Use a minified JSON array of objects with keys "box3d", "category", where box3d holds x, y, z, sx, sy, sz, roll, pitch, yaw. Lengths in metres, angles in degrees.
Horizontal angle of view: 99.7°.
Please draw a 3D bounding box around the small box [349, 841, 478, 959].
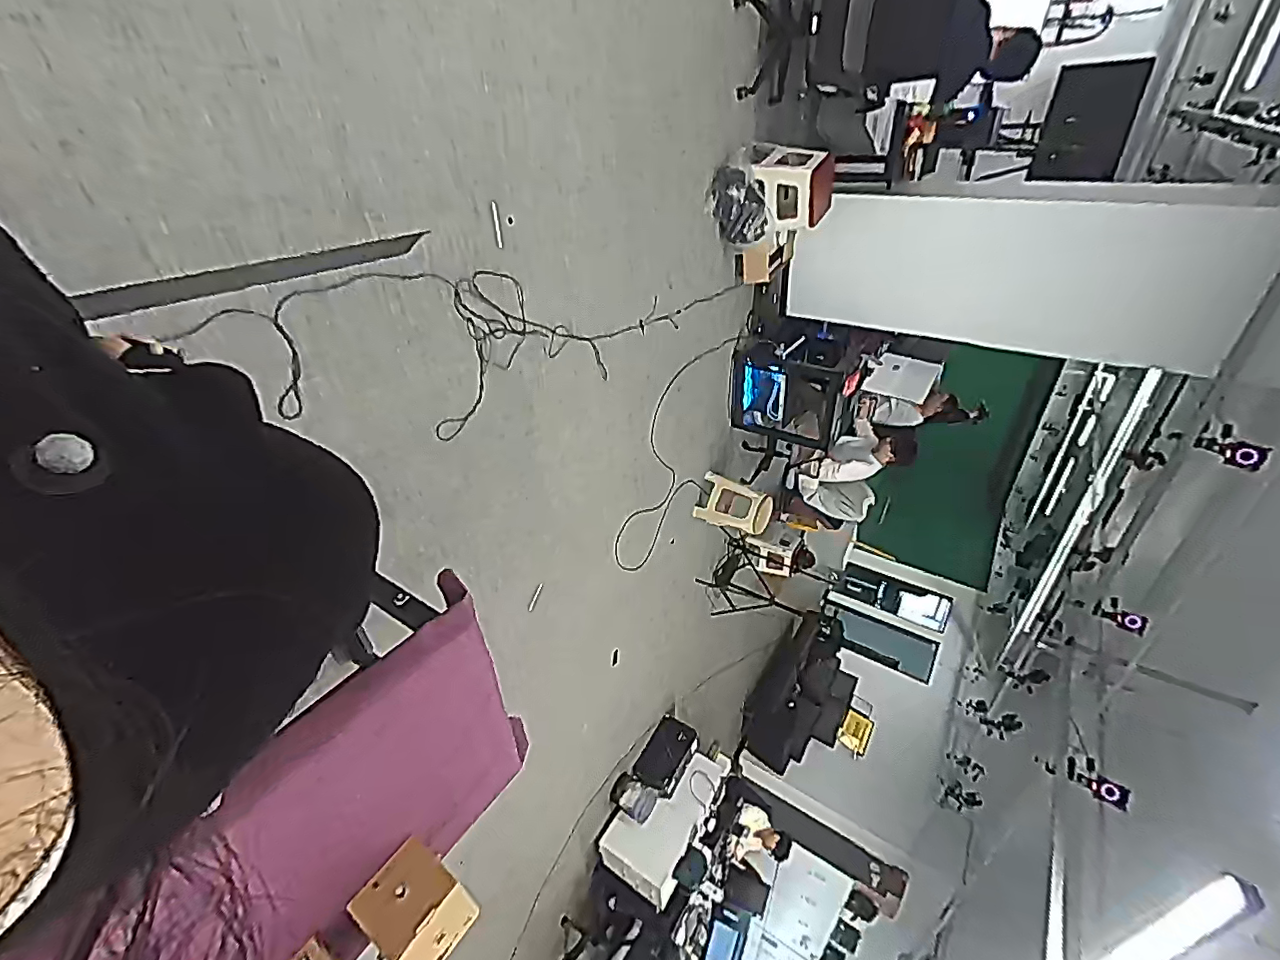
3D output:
[{"box3d":[-0.484,0.923,1.160,0.168,0.176,0.179,-42,137,-41],"category":"small box"}]
